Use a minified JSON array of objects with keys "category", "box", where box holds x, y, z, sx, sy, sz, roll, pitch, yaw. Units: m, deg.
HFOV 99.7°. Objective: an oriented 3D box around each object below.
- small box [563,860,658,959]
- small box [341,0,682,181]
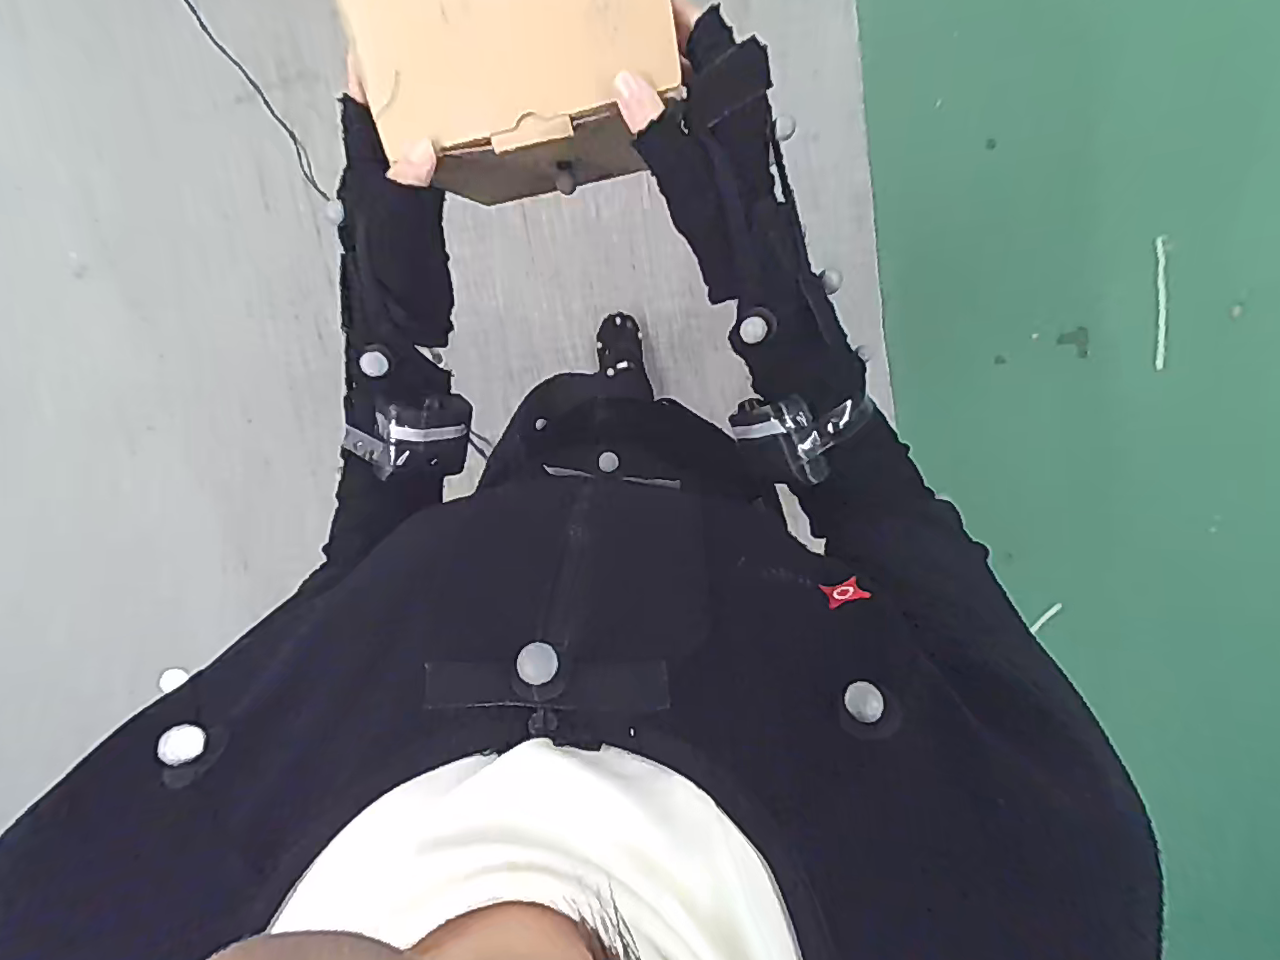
[{"category":"small box","box":[-0.058,0.981,1.192,0.179,0.176,0.168,-12,97,4]},{"category":"small box","box":[-0.067,-0.299,0.330,0.168,0.176,0.179,-9,110,8]}]
